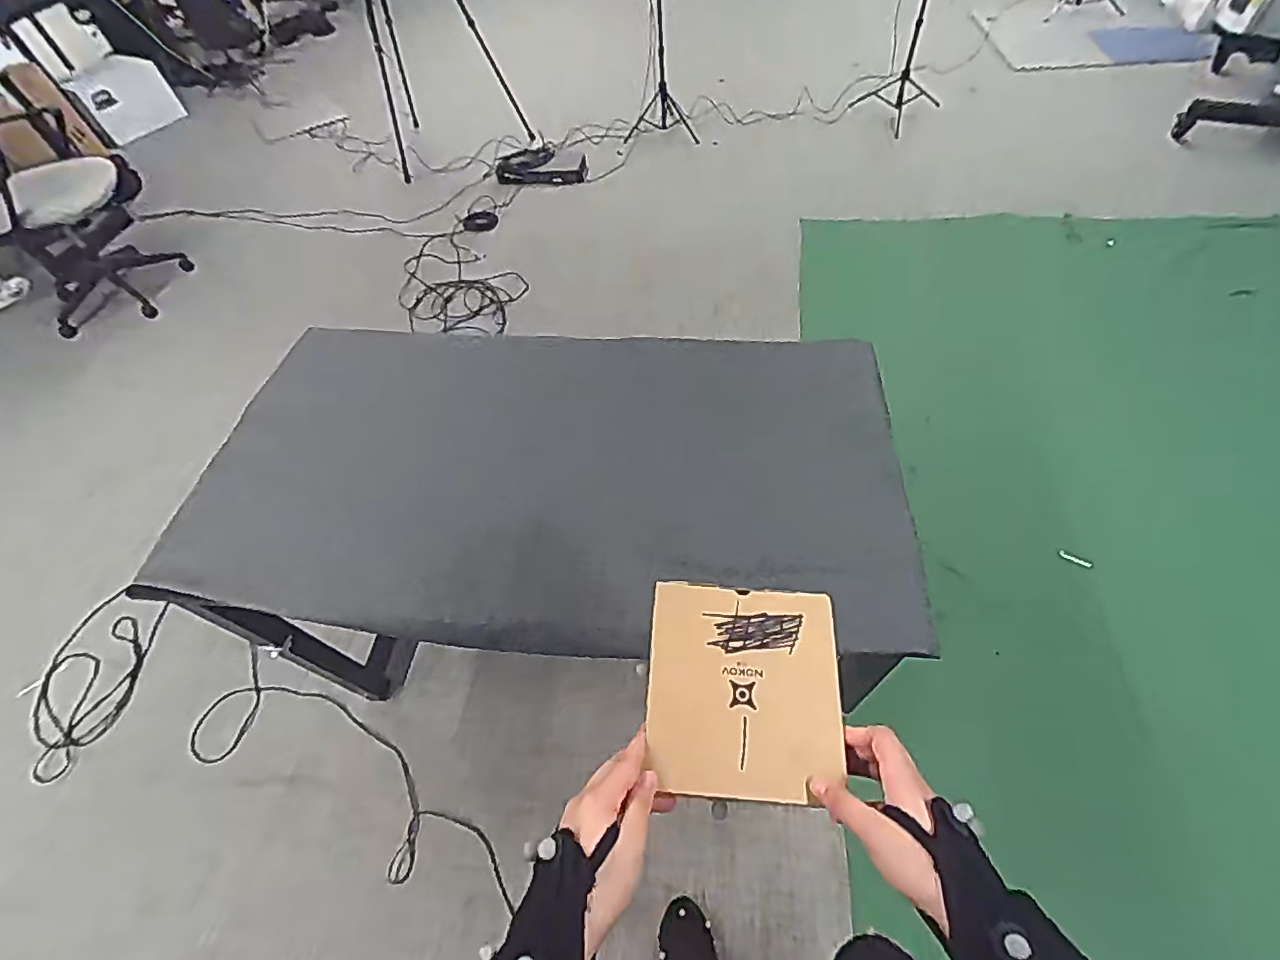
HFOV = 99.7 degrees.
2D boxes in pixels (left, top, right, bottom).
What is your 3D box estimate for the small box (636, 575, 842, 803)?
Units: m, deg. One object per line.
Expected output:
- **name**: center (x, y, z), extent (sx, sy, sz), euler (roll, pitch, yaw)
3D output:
- **small box**: center (0.084, 0.210, 0.534), extent (0.168, 0.176, 0.179), euler (3, 61, 3)
